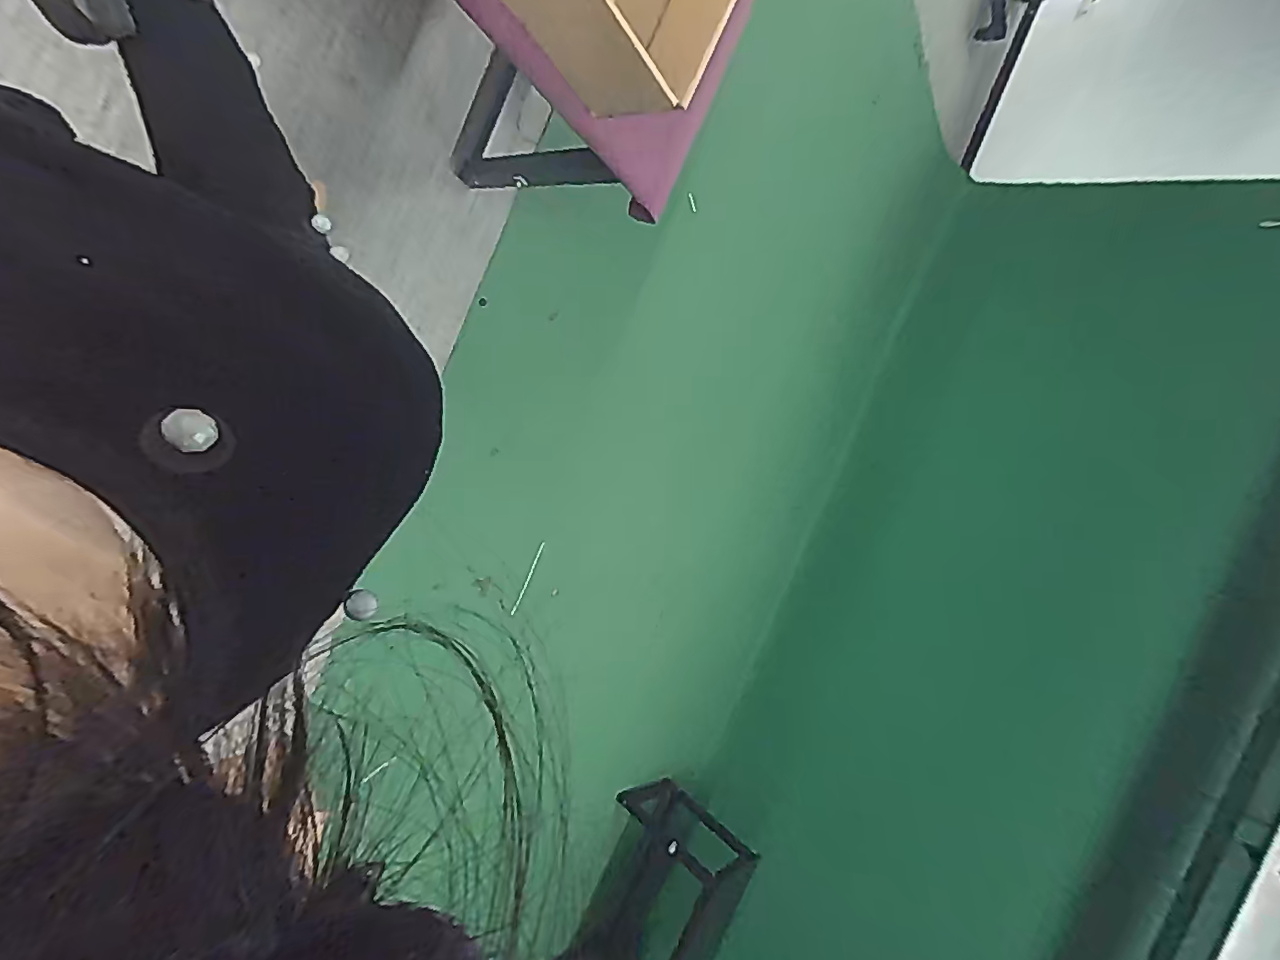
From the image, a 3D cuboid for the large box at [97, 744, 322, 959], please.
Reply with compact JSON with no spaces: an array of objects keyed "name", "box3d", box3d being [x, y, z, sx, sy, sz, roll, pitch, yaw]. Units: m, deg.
[{"name":"large box","box3d":[-1.119,0.975,1.410,0.408,0.320,0.320,-1,110,-50]}]
